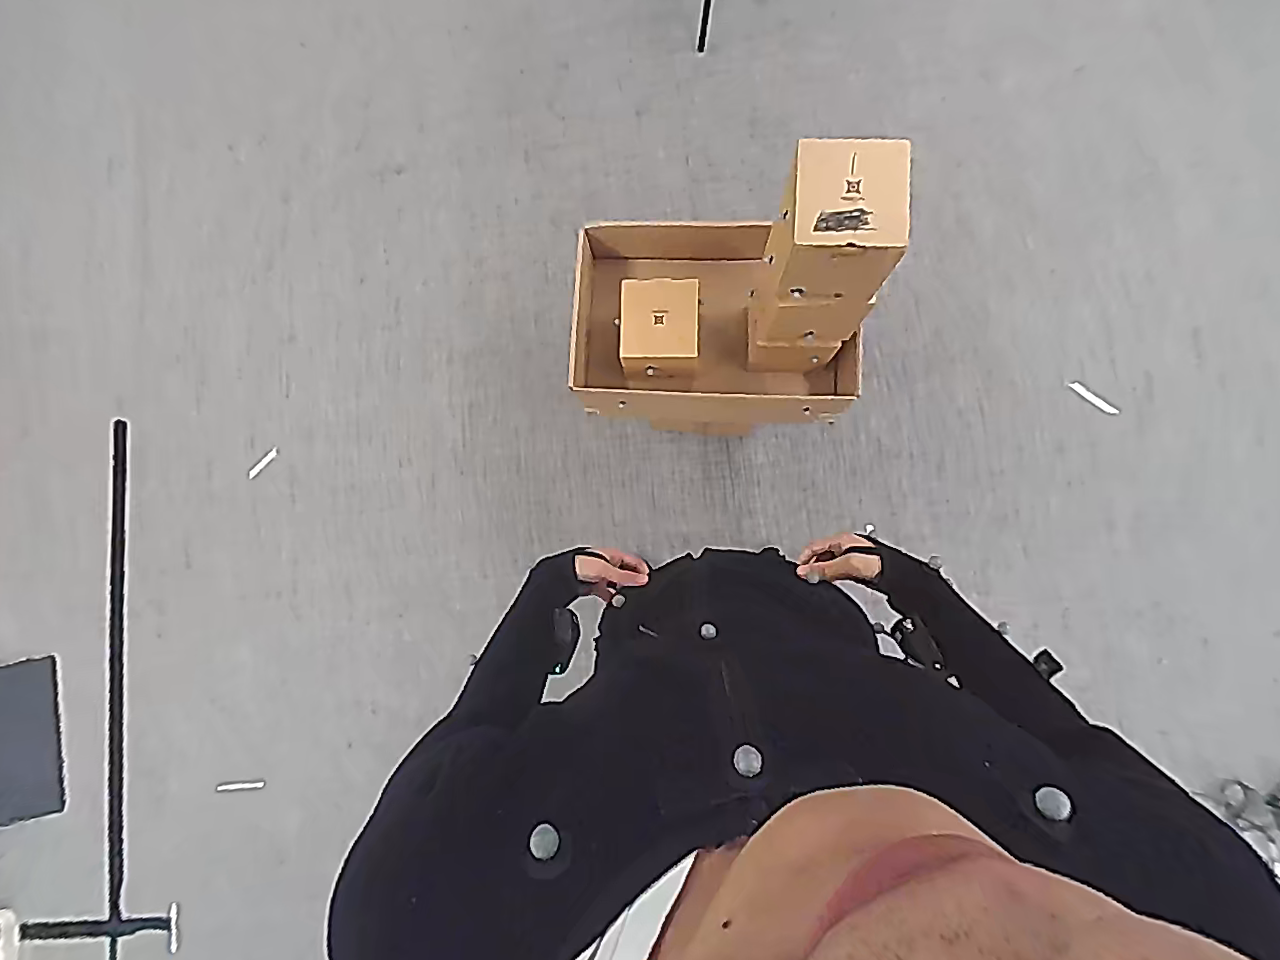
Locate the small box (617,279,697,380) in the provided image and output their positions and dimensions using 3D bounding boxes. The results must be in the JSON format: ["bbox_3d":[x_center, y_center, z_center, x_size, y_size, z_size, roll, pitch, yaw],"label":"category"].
[{"bbox_3d":[0.043,-0.329,1.212,0.168,0.176,0.179,0,82,4],"label":"small box"}]

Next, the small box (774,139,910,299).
[{"bbox_3d":[0.313,-0.407,0.866,0.168,0.176,0.179,4,82,5],"label":"small box"}]

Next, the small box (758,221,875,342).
[{"bbox_3d":[0.326,-0.371,1.027,0.179,0.176,0.168,0,83,3],"label":"small box"}]
